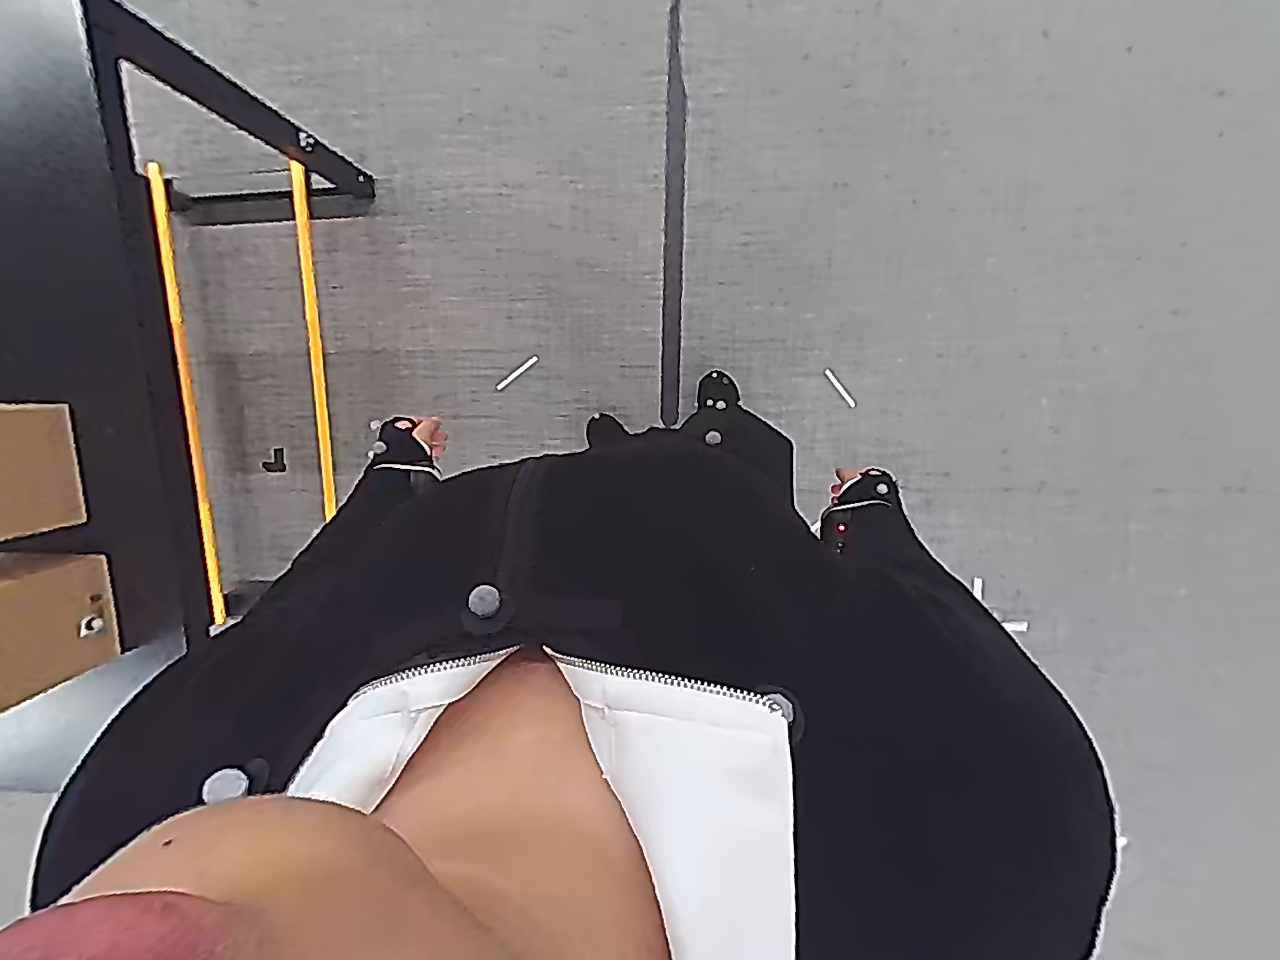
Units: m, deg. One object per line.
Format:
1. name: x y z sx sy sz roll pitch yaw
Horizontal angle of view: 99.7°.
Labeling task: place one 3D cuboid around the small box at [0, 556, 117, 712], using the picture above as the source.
1. small box: -0.896 0.210 0.748 0.179 0.176 0.168 -1 101 3
